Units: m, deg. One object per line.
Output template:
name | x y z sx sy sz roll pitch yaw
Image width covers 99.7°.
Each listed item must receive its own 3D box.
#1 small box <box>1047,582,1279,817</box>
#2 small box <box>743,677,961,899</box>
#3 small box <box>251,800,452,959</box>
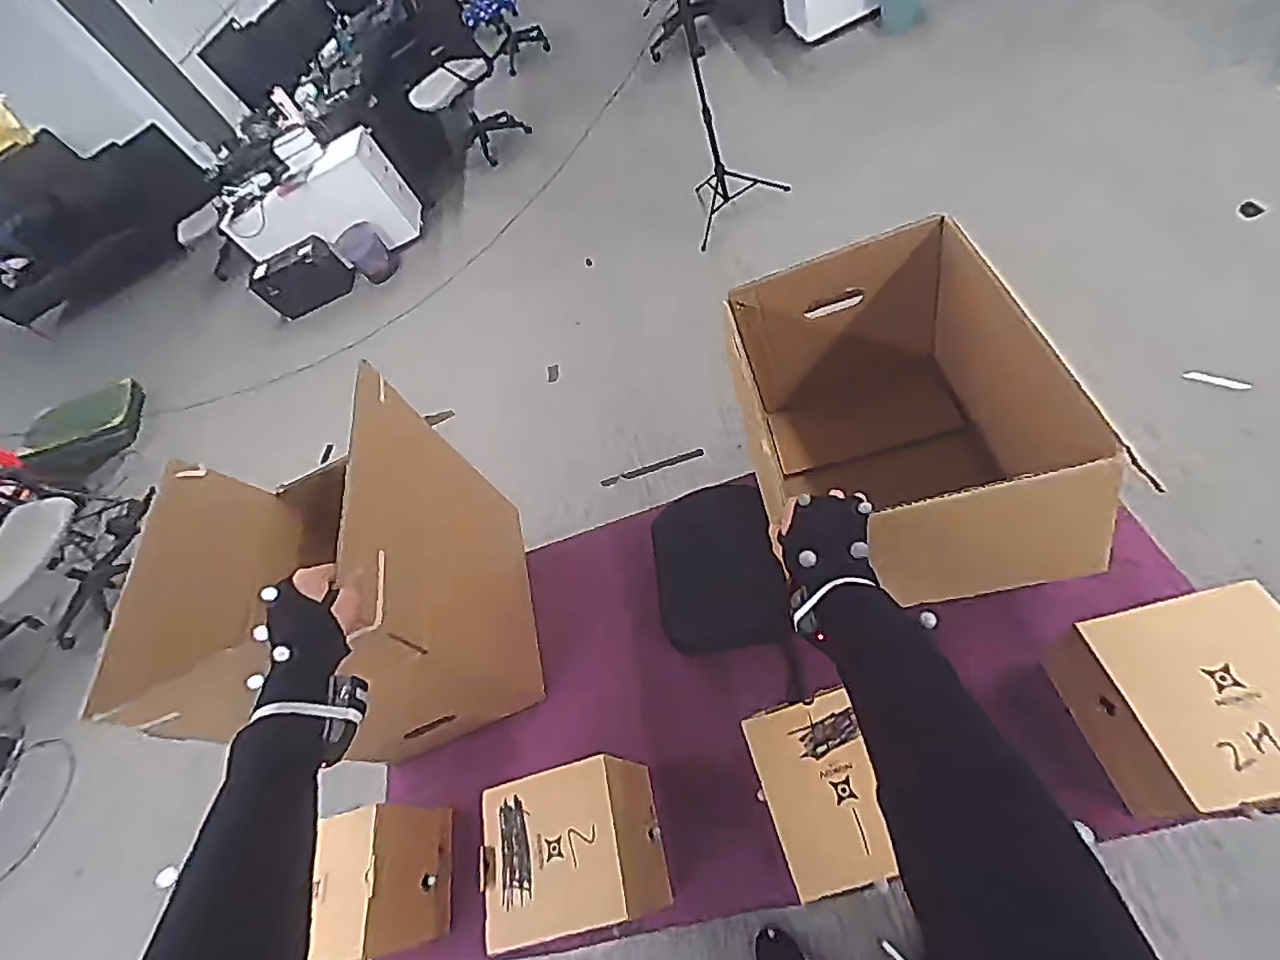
small box | 0.568 0.234 0.561 0.168 0.176 0.179 -20 53 13
small box | 0.237 0.357 0.631 0.168 0.176 0.179 -23 54 10
small box | -0.397 0.573 0.772 0.179 0.176 0.168 -20 53 10
